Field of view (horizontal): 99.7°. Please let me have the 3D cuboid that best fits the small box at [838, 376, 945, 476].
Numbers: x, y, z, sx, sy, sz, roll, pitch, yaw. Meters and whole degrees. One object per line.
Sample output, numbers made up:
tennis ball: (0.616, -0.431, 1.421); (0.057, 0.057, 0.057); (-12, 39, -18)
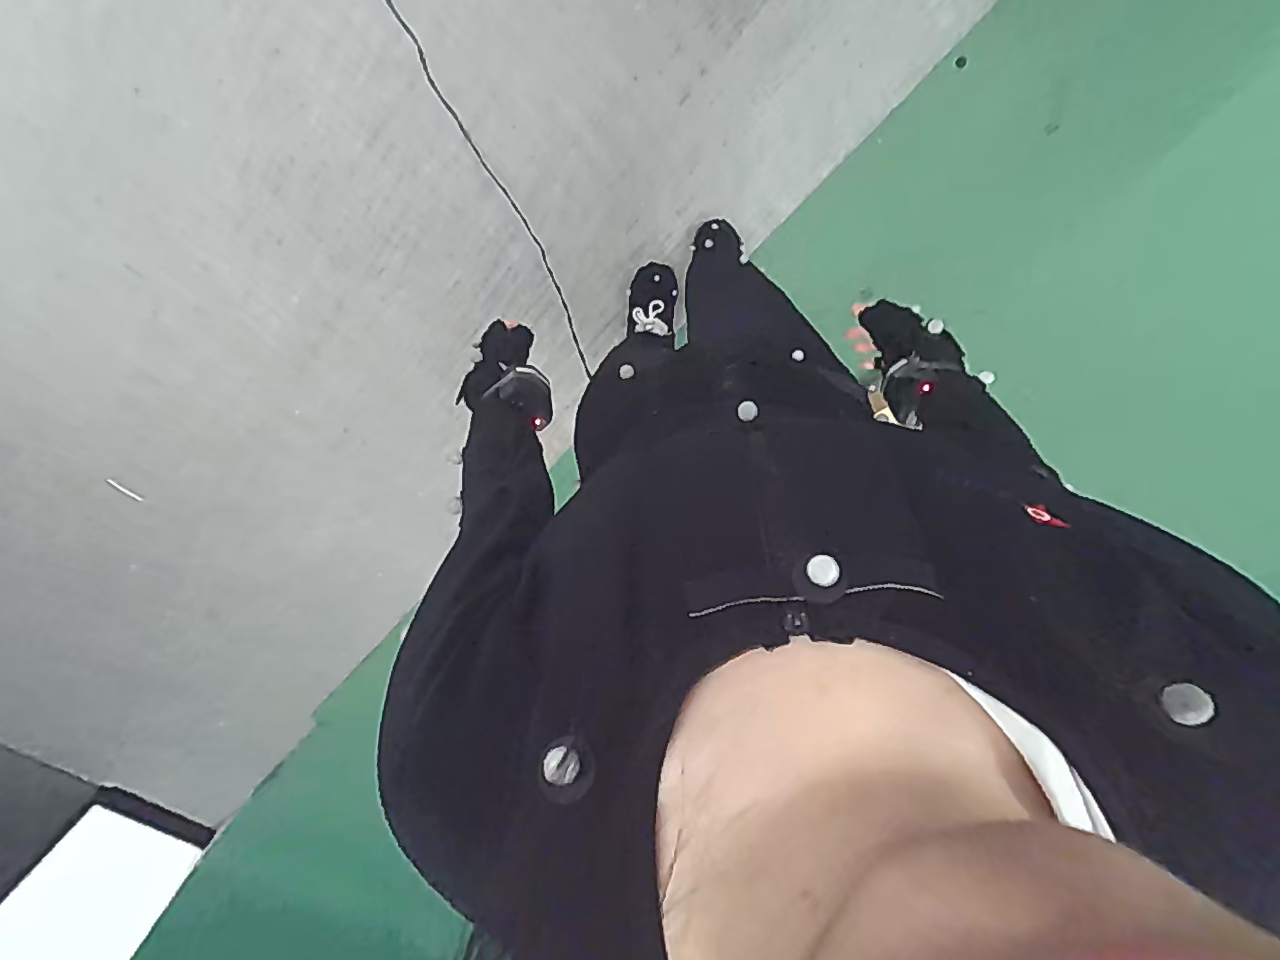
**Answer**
small box: (0.649, -0.146, 1.410); (0.168, 0.176, 0.179); (-33, 109, 14)
